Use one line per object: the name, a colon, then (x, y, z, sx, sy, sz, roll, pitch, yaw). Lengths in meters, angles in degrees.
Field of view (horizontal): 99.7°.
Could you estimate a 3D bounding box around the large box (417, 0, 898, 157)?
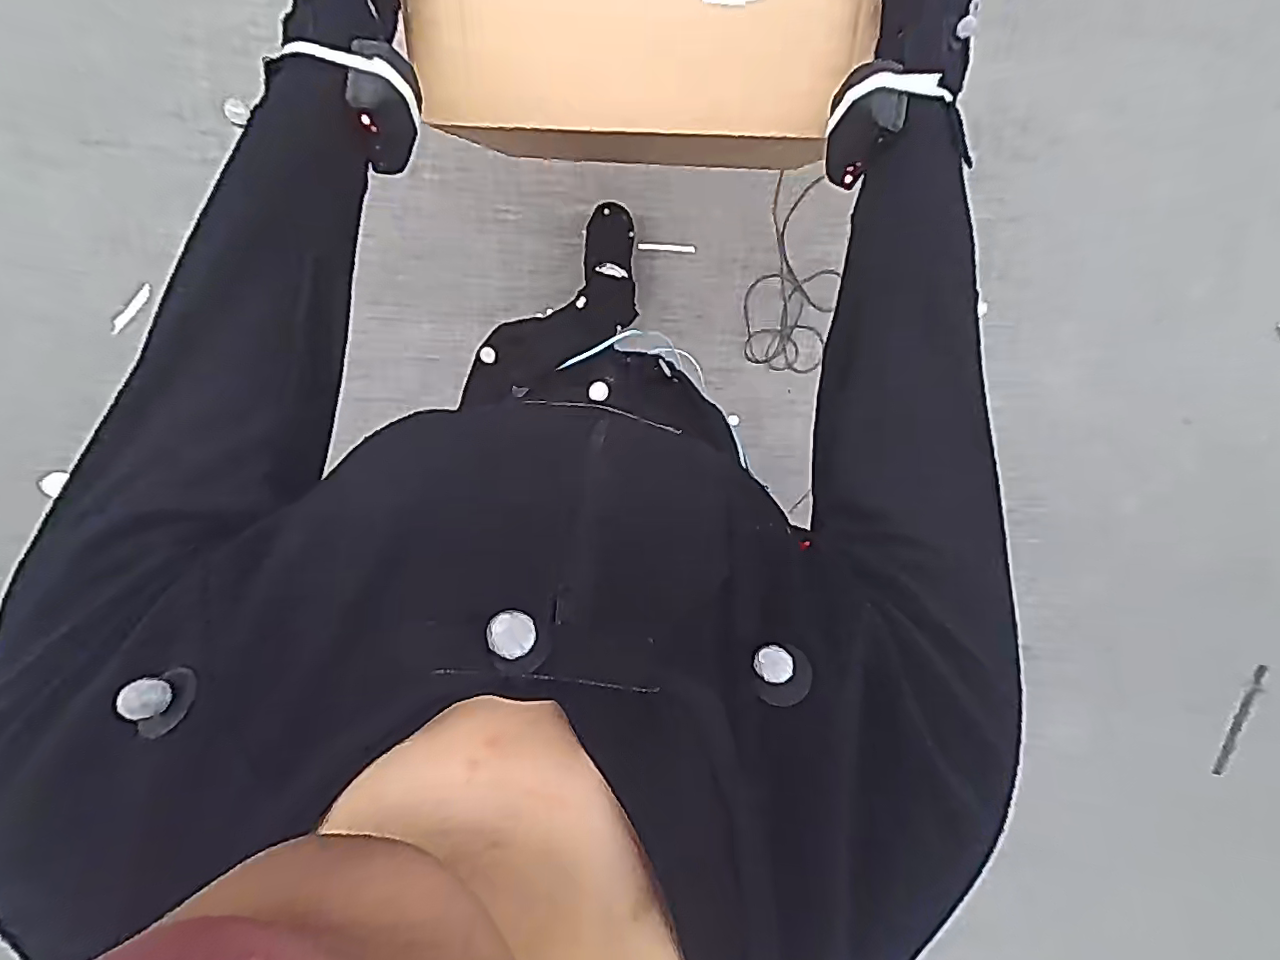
large box: (0.017, -0.523, 0.547, 0.408, 0.320, 0.320, 3, 117, 0)
